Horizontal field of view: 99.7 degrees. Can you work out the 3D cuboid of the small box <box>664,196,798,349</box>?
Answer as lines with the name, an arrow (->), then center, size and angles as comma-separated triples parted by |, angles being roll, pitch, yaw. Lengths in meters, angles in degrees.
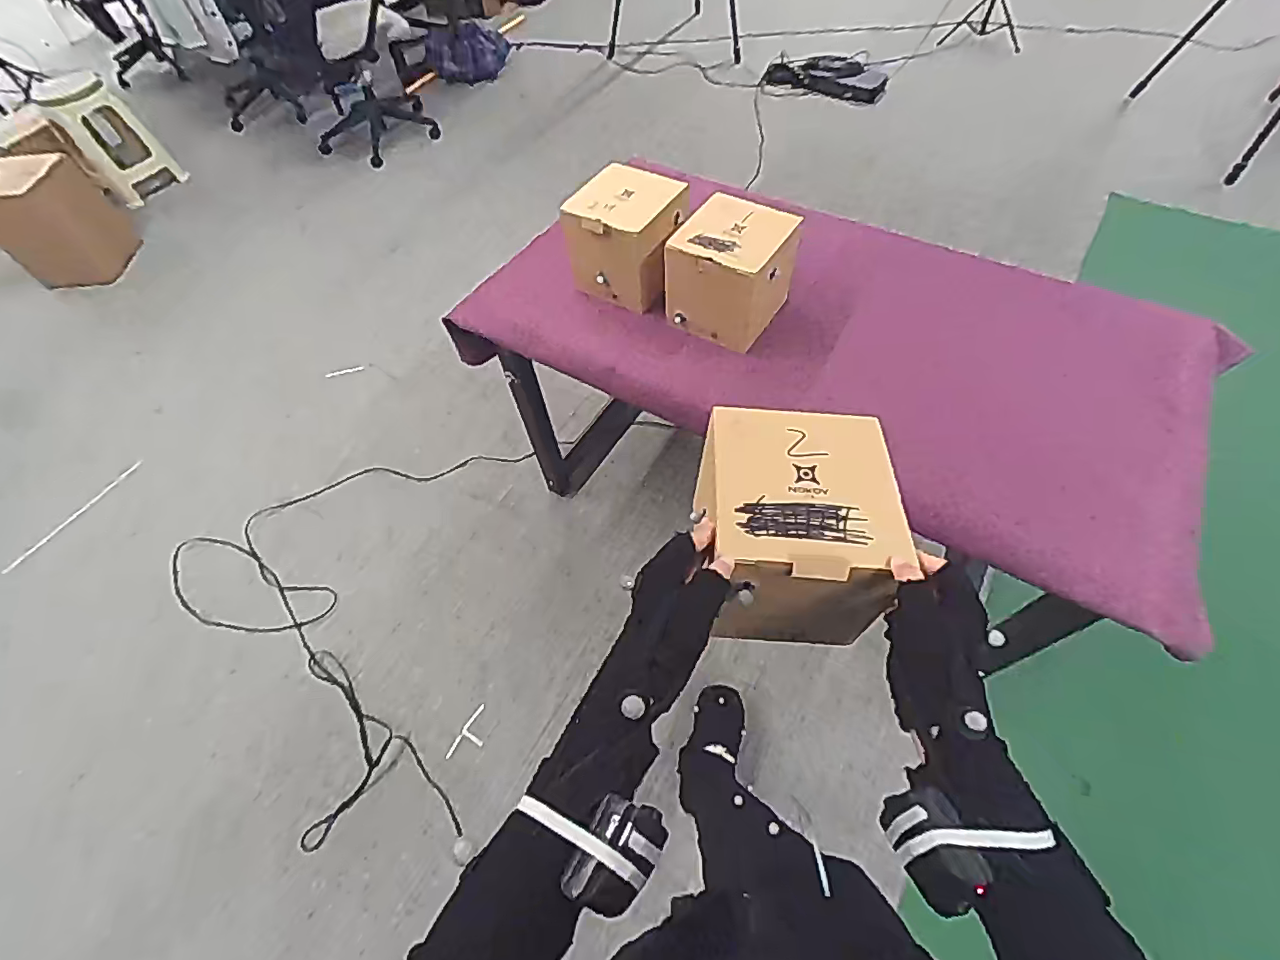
small box -> 0.163, -0.361, 0.953 | 0.168, 0.176, 0.179 | 24, 65, 22

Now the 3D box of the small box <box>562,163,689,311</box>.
small box -> -0.023, -0.456, 1.022 | 0.168, 0.176, 0.179 | 27, 64, 20
